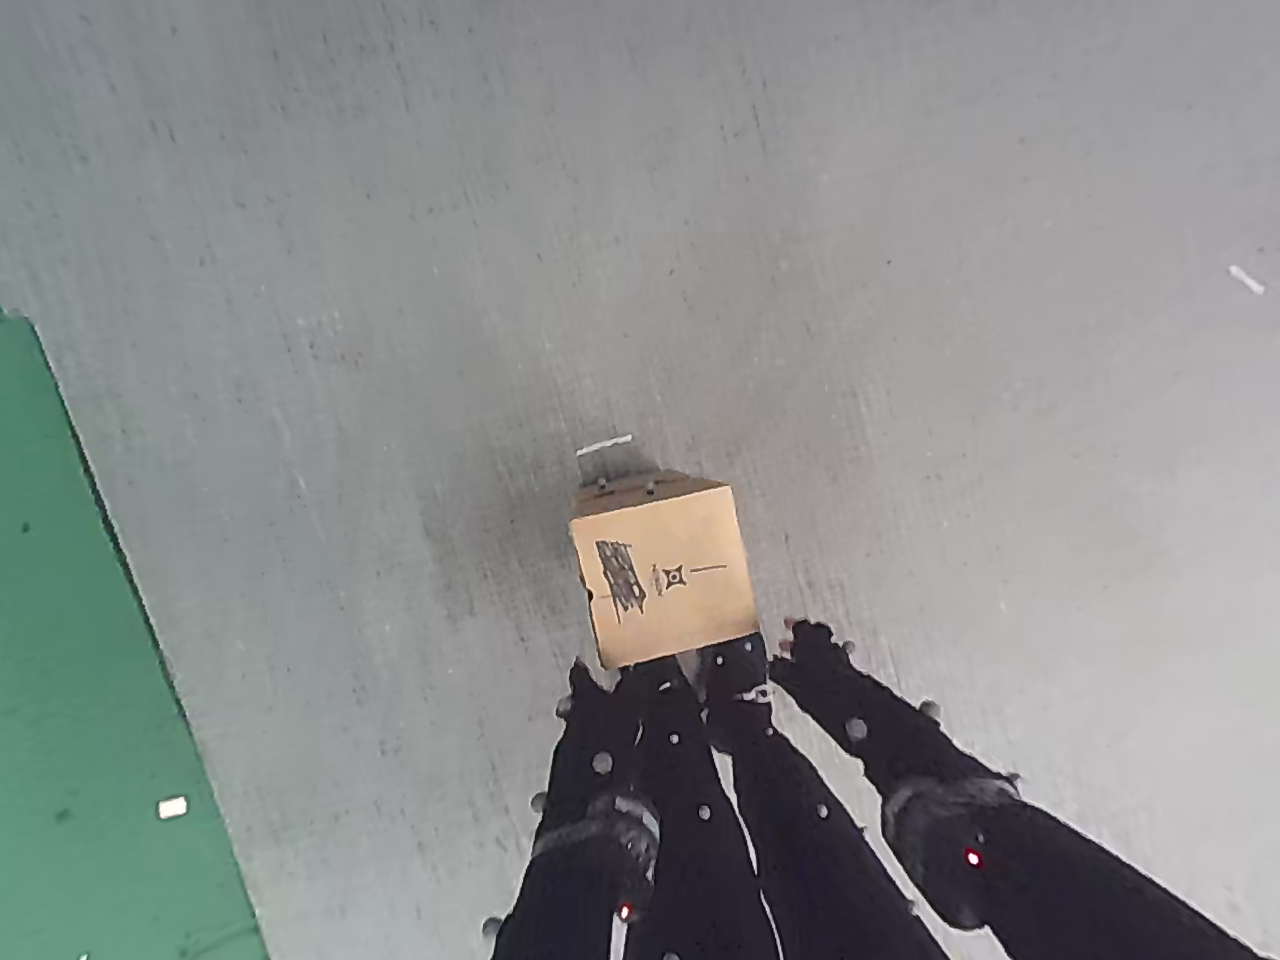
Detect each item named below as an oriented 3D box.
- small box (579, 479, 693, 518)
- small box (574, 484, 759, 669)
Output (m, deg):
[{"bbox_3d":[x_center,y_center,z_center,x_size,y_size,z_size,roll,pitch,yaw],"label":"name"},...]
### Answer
[{"bbox_3d":[0.005,0.098,0.821,0.168,0.176,0.179,-13,95,-3],"label":"small box"},{"bbox_3d":[0.026,0.104,0.657,0.179,0.176,0.168,-12,94,-4],"label":"small box"}]
